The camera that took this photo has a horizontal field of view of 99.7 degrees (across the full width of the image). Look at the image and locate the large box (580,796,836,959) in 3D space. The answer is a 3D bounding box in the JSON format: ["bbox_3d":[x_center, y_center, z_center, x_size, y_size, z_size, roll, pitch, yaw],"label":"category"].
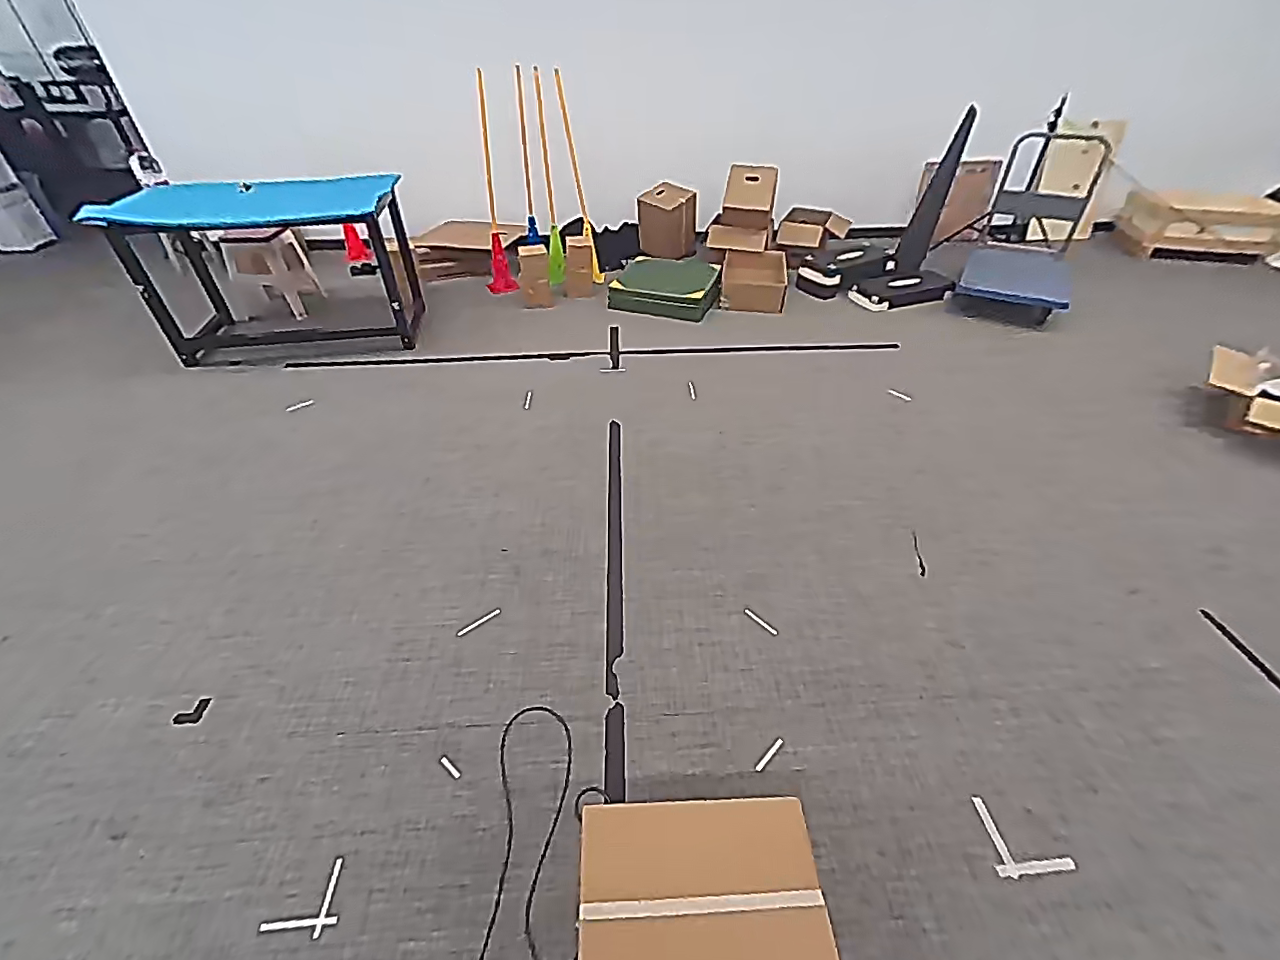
[{"bbox_3d":[0.101,0.811,0.987,0.408,0.320,0.320,-1,40,-3],"label":"large box"}]
